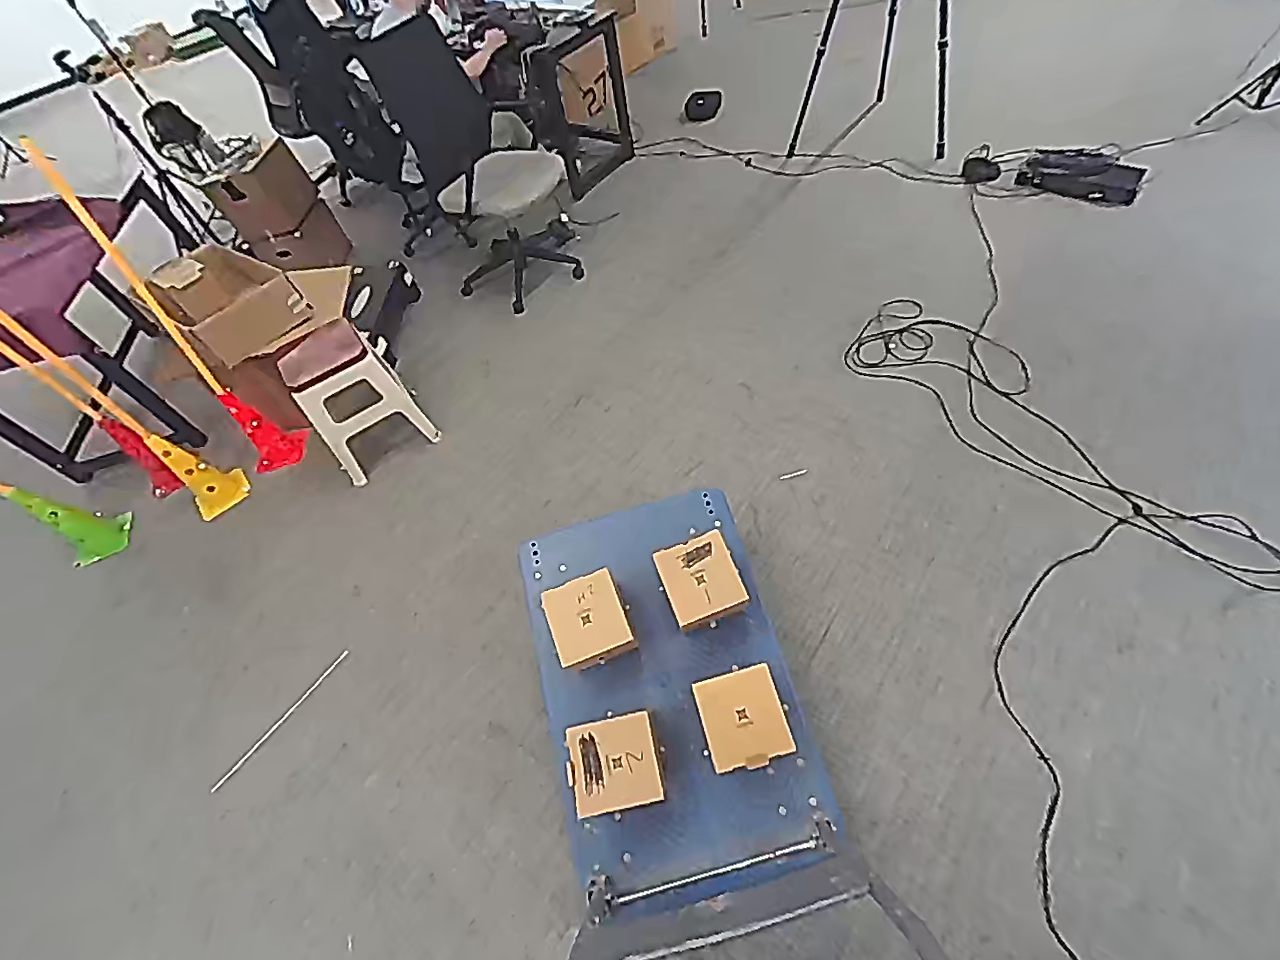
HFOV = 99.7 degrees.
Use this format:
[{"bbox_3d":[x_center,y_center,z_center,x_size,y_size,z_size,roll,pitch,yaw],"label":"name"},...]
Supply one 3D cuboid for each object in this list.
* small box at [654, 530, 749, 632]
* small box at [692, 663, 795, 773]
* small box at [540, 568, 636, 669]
[{"bbox_3d":[0.140,0.244,1.278,0.168,0.176,0.179,-21,69,-3],"label":"small box"},{"bbox_3d":[0.212,0.509,1.167,0.168,0.176,0.179,-16,69,-1],"label":"small box"},{"bbox_3d":[-0.116,0.329,1.265,0.168,0.176,0.179,-20,68,-4],"label":"small box"}]
